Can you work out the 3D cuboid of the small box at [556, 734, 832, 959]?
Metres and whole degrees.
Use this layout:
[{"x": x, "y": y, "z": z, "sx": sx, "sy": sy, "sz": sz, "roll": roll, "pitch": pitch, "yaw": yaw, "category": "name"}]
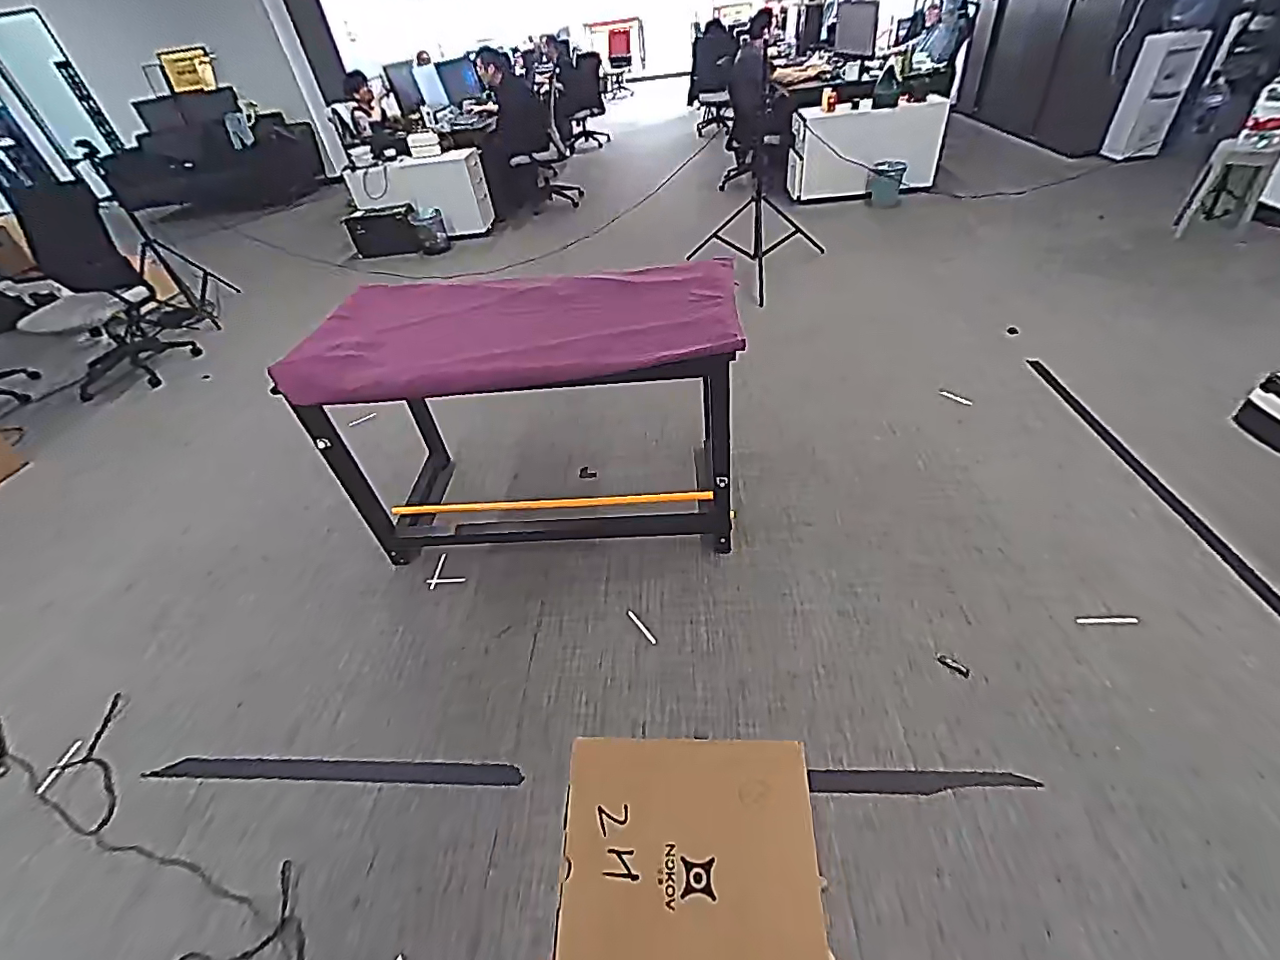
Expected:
[{"x": 0.045, "y": 0.306, "z": 0.430, "sx": 0.179, "sy": 0.176, "sz": 0.168, "roll": -3, "pitch": 56, "yaw": 9, "category": "small box"}]
